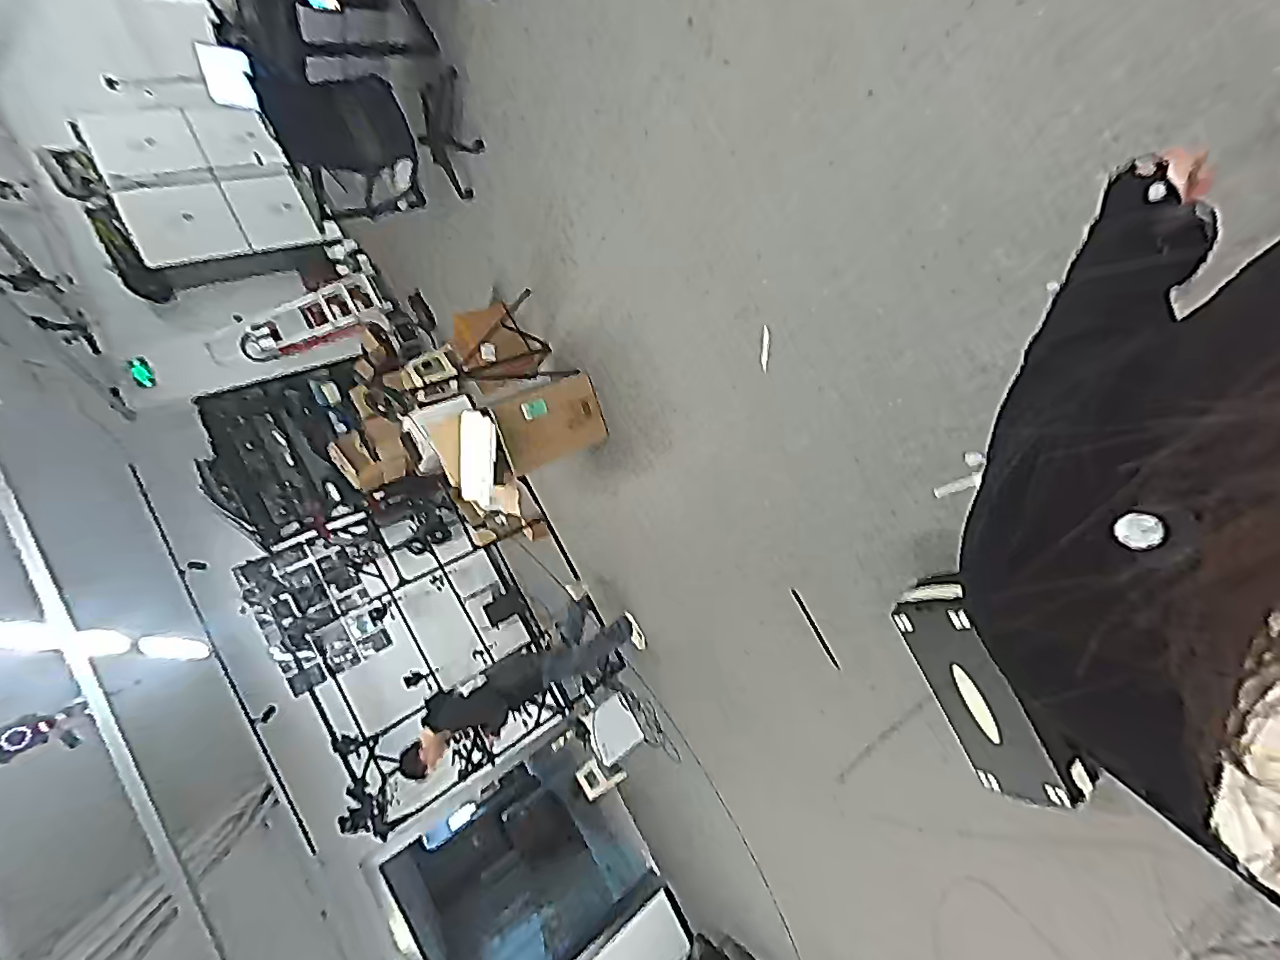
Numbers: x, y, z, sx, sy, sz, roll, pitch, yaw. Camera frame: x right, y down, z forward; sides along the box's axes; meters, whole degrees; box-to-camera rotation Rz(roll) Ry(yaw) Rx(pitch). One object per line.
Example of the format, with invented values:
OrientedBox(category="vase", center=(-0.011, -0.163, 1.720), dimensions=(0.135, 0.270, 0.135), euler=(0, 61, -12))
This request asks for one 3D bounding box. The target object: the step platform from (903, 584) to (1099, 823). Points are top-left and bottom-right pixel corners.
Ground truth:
OrientedBox(category="step platform", center=(1.084, 0.664, 1.643), dimensions=(0.286, 0.204, 0.684), euler=(-22, 94, 60))
